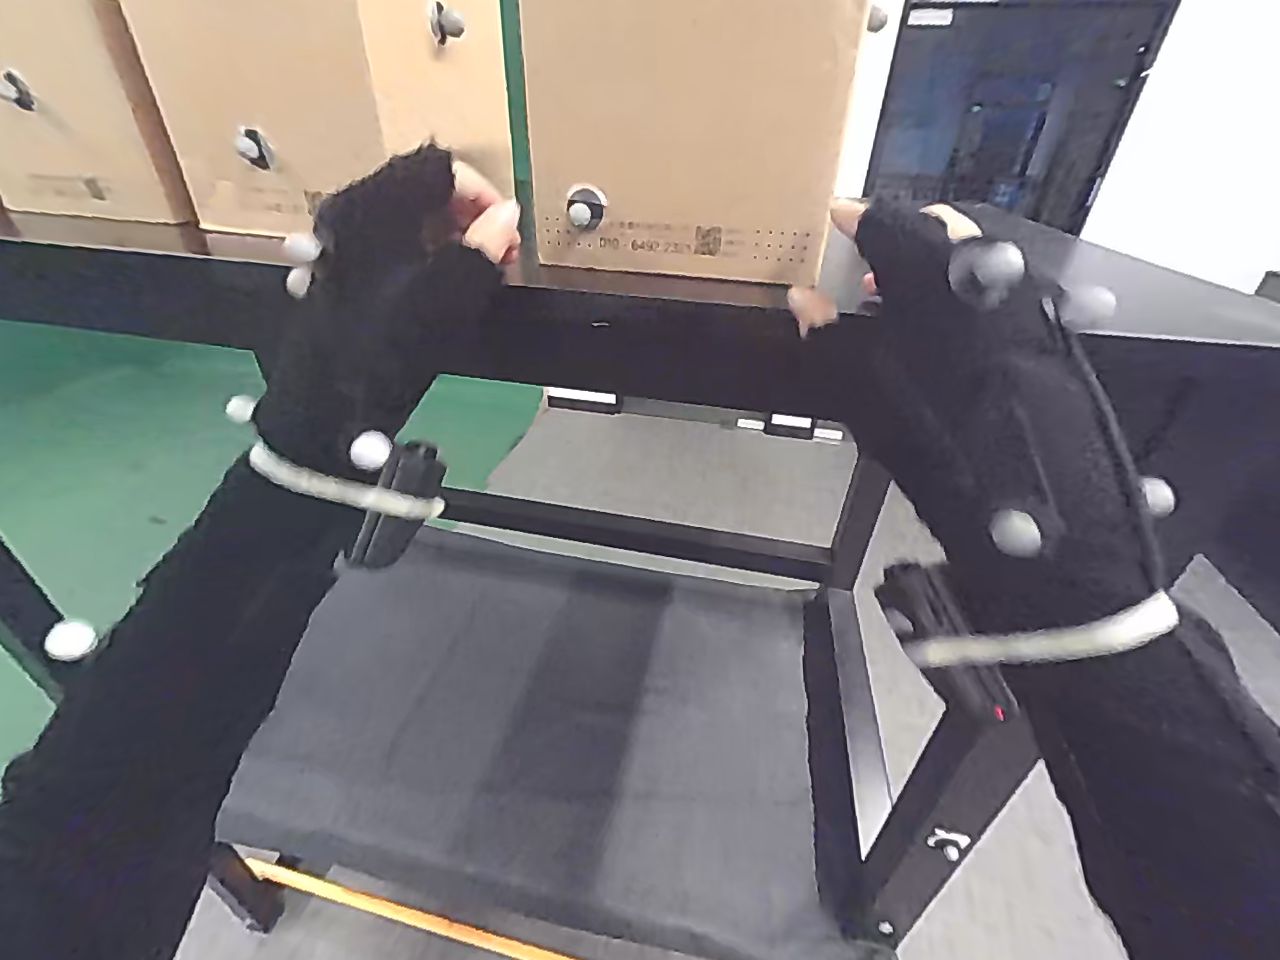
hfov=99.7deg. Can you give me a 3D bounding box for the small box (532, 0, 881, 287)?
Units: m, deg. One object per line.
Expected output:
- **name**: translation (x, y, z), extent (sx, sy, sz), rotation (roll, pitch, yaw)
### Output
- **small box**: translation (0.046, -0.225, 0.333), extent (0.168, 0.176, 0.179), rotation (10, 33, 11)

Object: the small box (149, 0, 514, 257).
- **small box**: translation (-0.202, -0.273, 0.395), extent (0.168, 0.176, 0.179), rotation (9, 34, 11)
